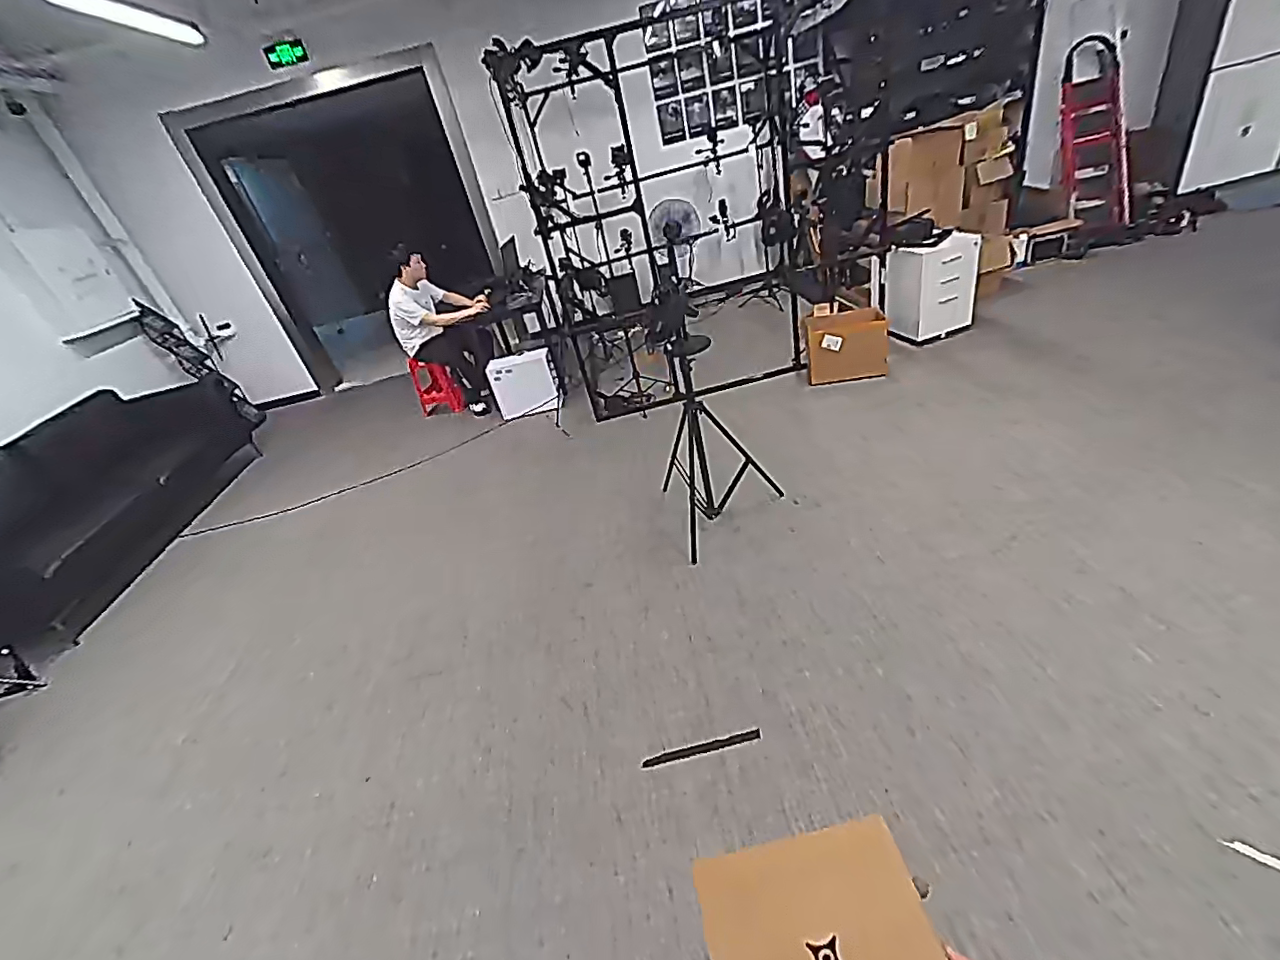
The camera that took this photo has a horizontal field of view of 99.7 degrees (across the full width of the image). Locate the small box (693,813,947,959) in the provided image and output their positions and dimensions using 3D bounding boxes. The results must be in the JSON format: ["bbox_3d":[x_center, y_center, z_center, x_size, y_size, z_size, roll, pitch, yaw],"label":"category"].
[{"bbox_3d":[0.149,0.408,0.431,0.168,0.176,0.179,-16,39,2],"label":"small box"}]
